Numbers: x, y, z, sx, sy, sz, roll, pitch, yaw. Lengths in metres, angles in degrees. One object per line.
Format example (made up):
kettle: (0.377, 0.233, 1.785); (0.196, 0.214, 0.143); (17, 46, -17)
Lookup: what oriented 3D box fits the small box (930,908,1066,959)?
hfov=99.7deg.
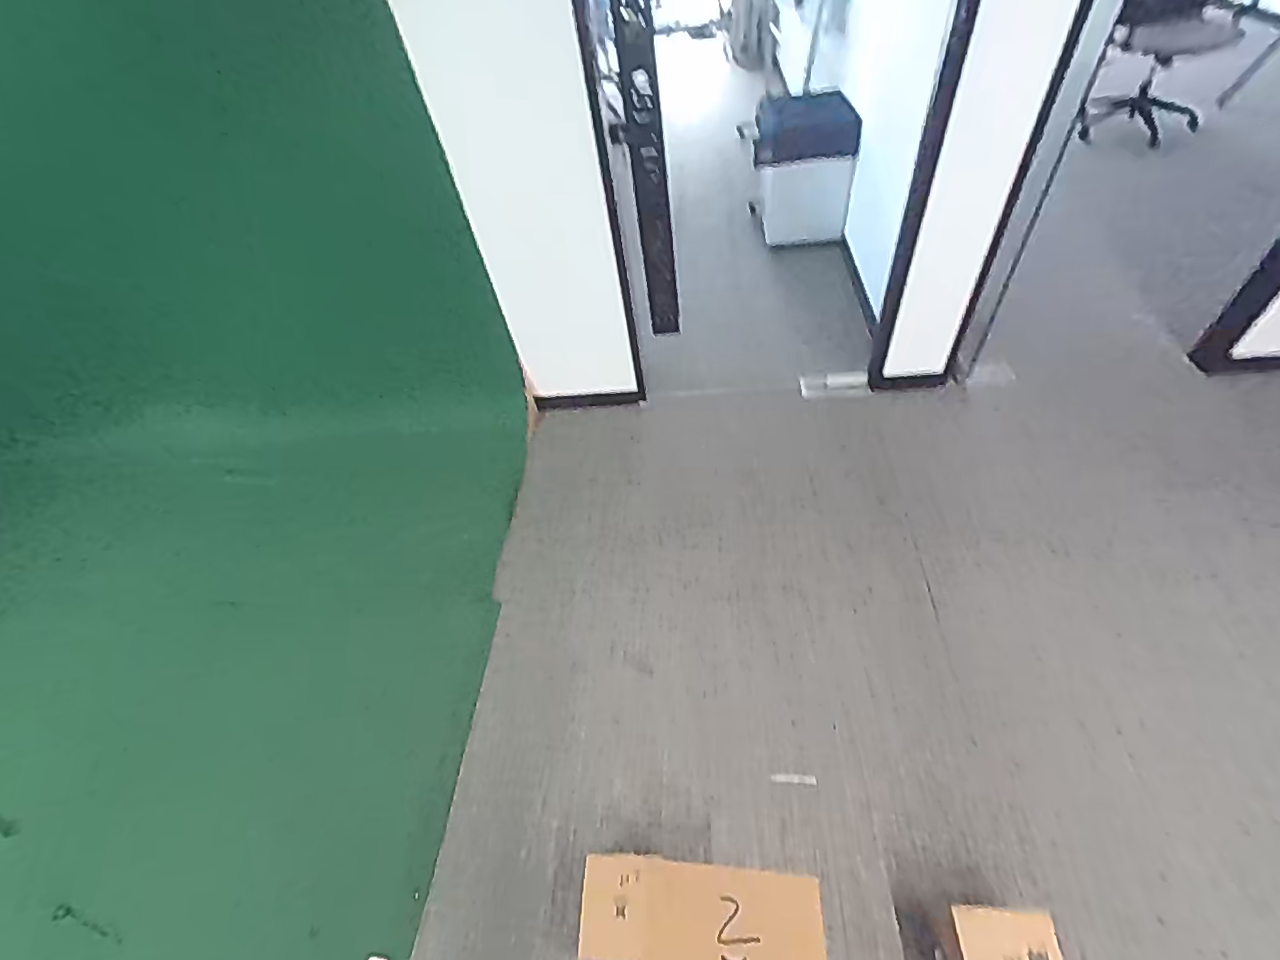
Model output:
small box: (0.678, 0.919, 1.016); (0.179, 0.176, 0.168); (-2, 49, 9)

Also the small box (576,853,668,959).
small box: (-0.030, 0.910, 1.148); (0.168, 0.176, 0.179); (-2, 49, 7)
